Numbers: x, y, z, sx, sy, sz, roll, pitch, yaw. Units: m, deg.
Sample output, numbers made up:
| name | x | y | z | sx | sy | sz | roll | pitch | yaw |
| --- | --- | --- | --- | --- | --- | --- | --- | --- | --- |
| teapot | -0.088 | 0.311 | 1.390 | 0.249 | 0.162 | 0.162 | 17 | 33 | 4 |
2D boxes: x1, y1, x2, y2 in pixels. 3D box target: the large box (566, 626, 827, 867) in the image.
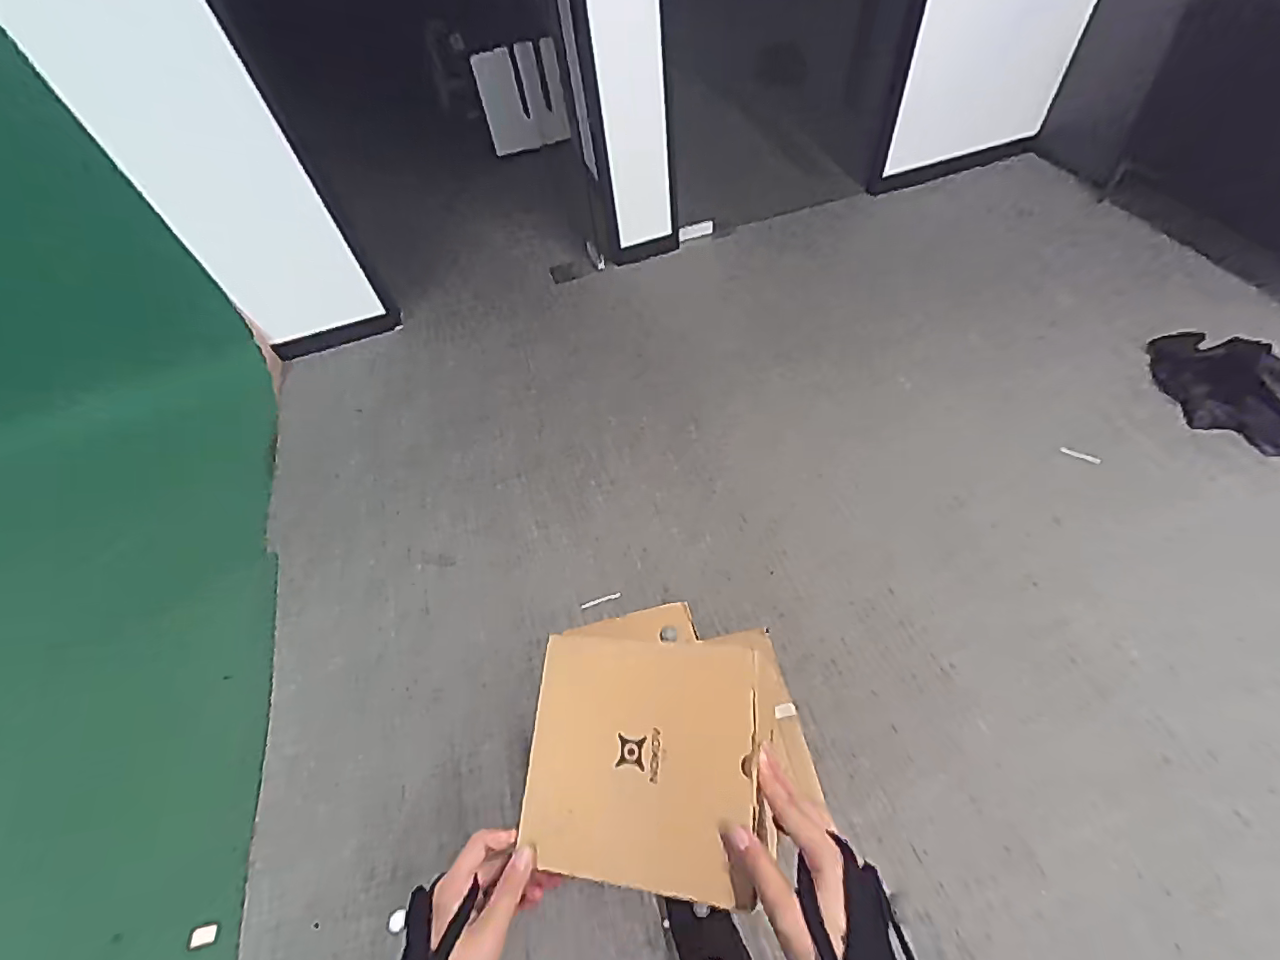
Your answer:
| name | x | y | z | sx | sy | sz | roll | pitch | yaw |
| --- | --- | --- | --- | --- | --- | --- | --- | --- | --- |
| large box | 0.093 | 0.531 | 1.066 | 0.408 | 0.320 | 0.320 | -12 | 55 | -2 |
